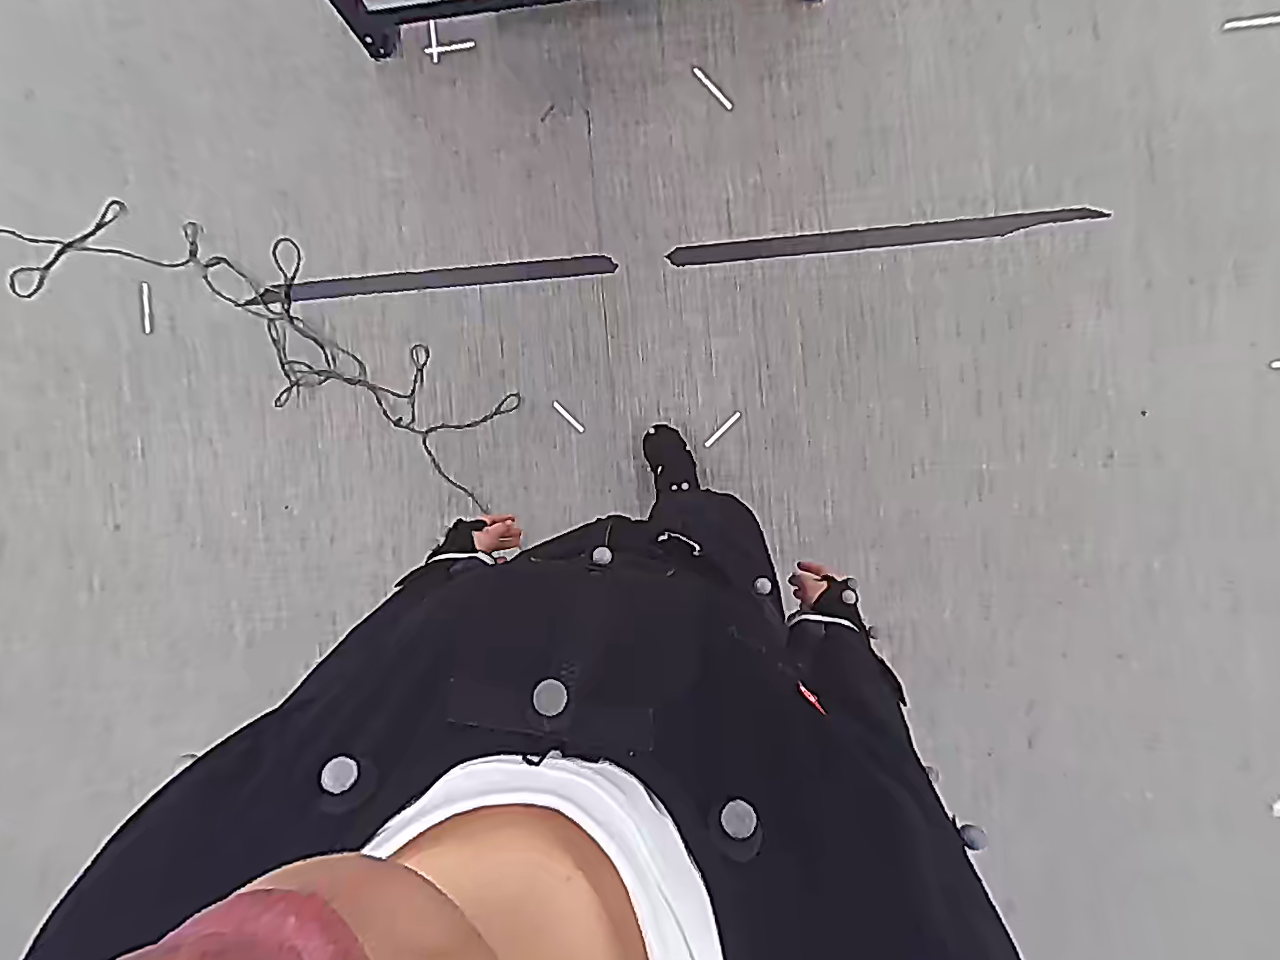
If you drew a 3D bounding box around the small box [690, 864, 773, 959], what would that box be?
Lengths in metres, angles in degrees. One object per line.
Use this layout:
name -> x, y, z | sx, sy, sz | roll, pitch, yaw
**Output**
small box -> 0.215, 1.062, 1.293 | 0.179, 0.176, 0.168 | -4, 90, 5
